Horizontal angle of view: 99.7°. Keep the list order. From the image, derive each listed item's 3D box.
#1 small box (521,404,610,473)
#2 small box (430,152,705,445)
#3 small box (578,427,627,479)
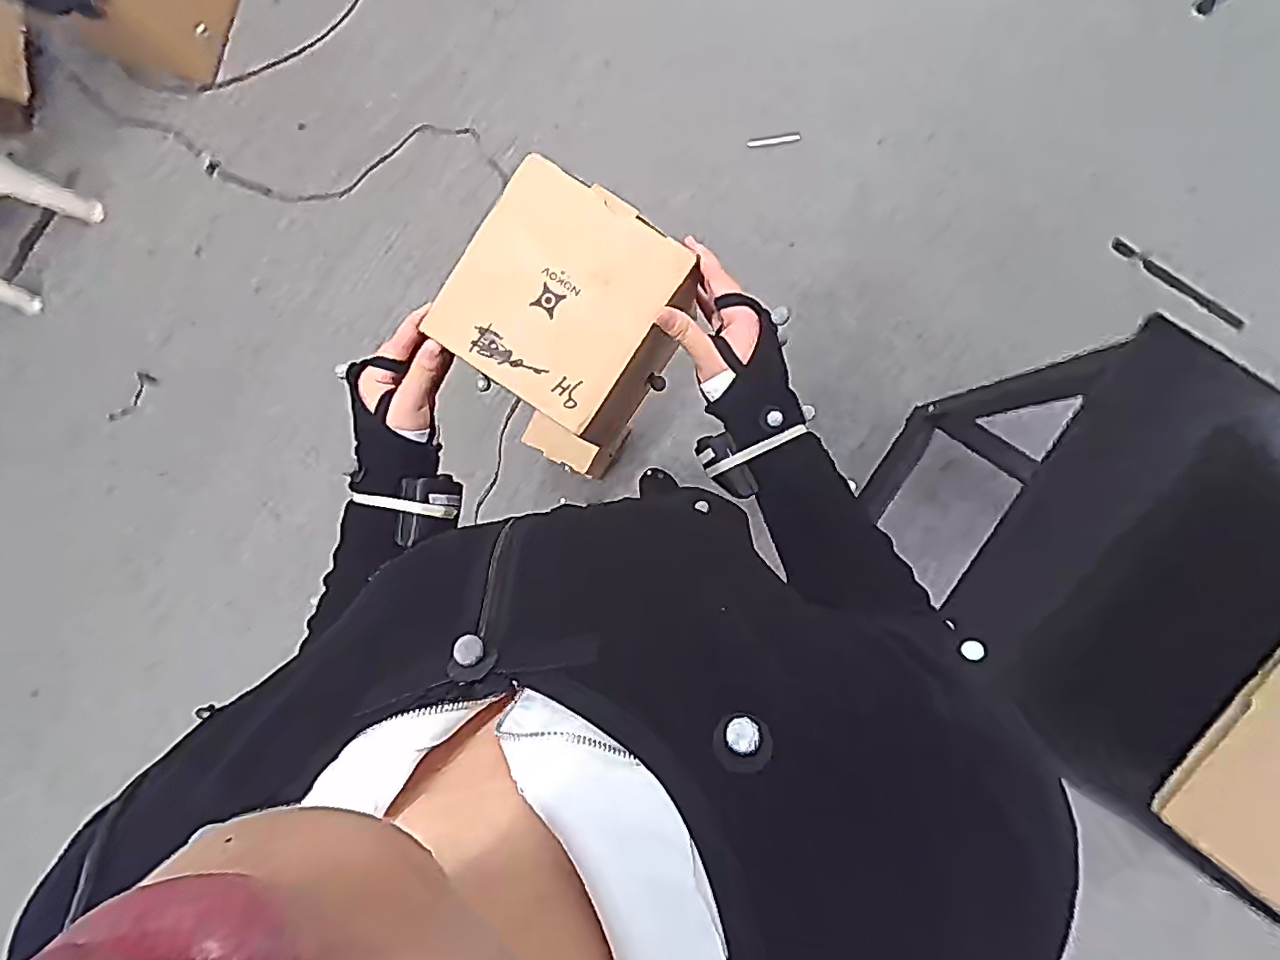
[{"bbox_3d":[-0.152,-0.125,1.277,0.168,0.176,0.179,27,89,2],"label":"small box"},{"bbox_3d":[-0.056,-0.153,0.519,0.168,0.176,0.179,35,91,6],"label":"small box"},{"bbox_3d":[-0.145,-0.115,1.440,0.168,0.176,0.179,30,91,3],"label":"small box"}]
